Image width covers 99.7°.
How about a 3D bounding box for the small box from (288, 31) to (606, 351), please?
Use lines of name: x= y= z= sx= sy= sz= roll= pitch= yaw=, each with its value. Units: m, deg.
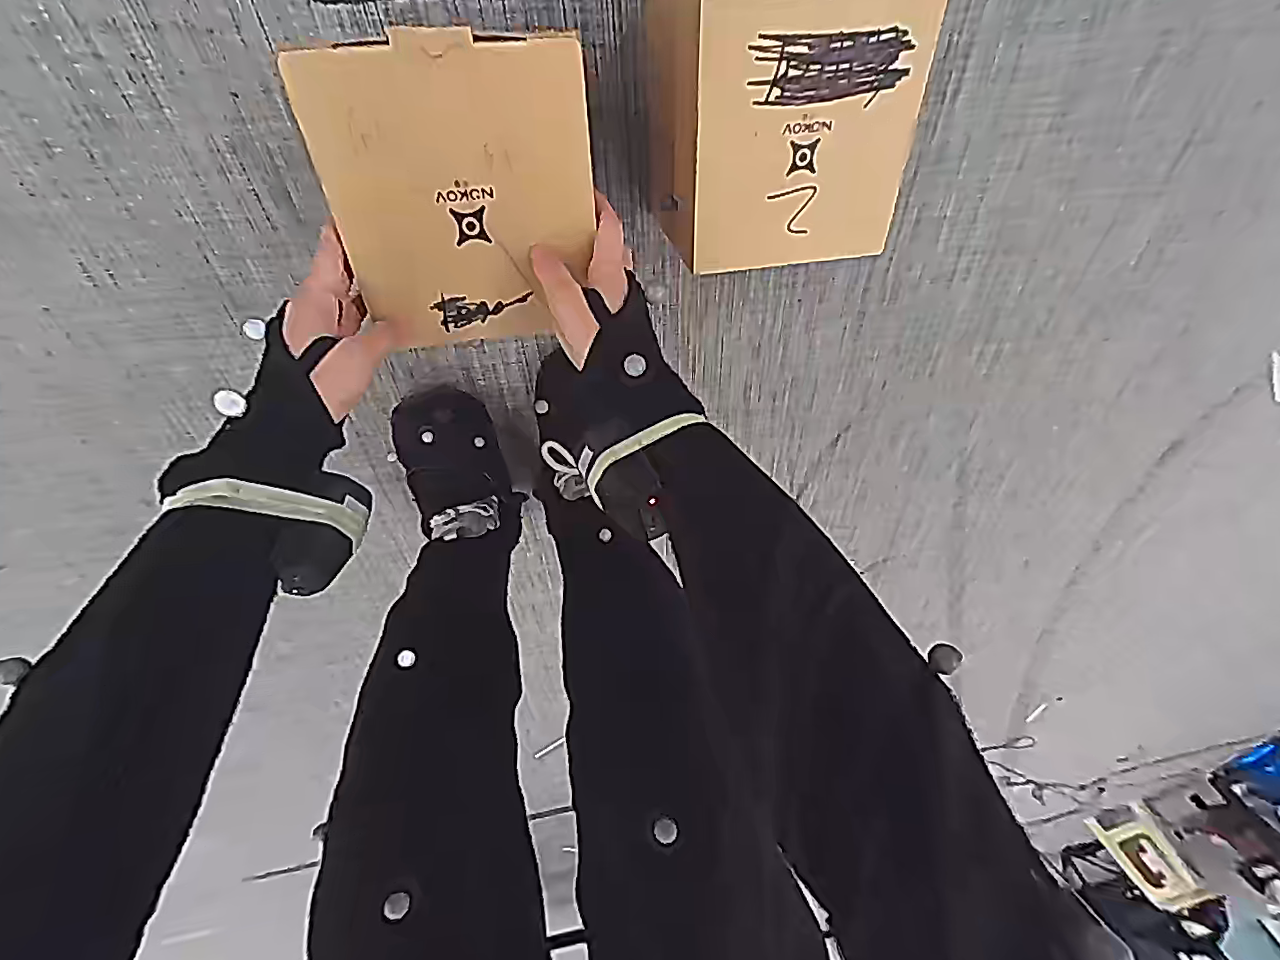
small box: x=-0.126 y=-0.221 z=0.411 sx=0.168 sy=0.176 sz=0.179 roll=-10 pitch=130 yaw=-9
